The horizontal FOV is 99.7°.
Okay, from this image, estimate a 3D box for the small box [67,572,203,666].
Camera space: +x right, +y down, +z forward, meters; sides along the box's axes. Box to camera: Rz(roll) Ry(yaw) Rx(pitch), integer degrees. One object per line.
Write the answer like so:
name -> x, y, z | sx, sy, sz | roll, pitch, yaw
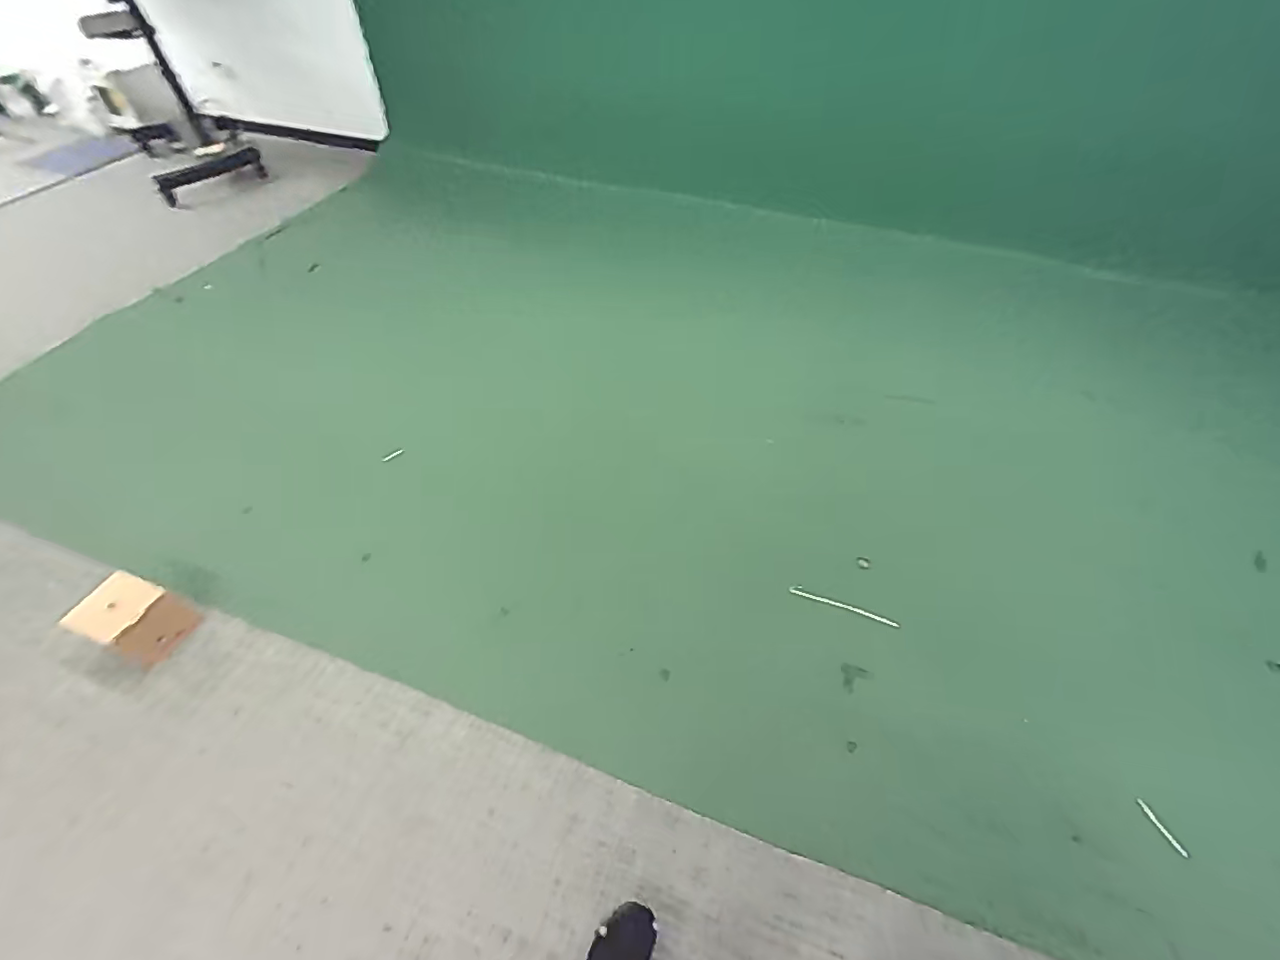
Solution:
small box -> -1.366, 0.383, 1.476 | 0.179, 0.176, 0.168 | 16, 52, 12
